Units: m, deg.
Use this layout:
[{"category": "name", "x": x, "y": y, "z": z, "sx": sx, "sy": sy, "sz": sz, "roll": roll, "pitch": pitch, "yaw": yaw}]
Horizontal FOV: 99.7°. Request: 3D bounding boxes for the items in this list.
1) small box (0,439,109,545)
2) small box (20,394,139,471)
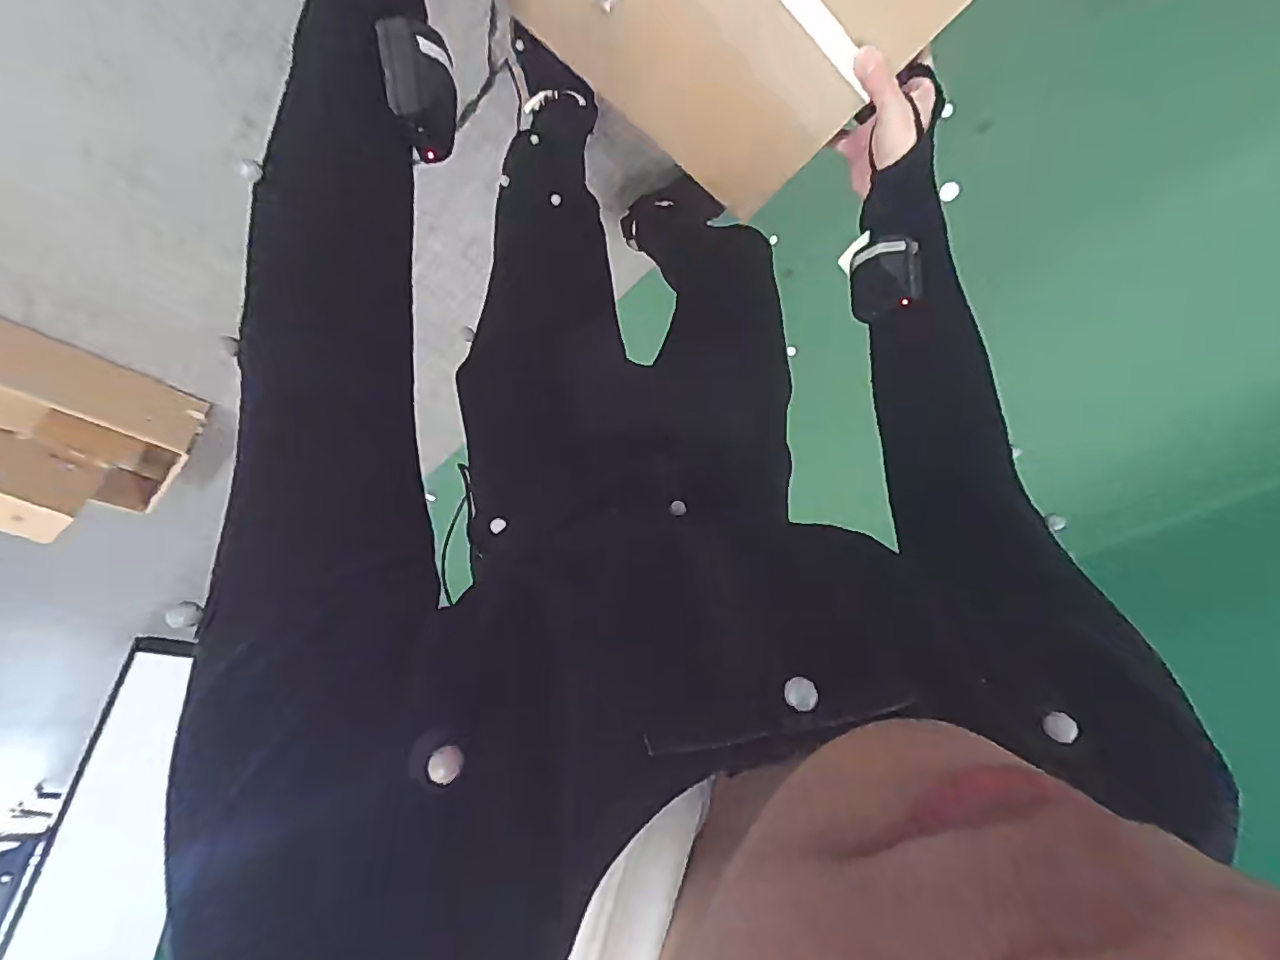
[{"category": "small box", "x": -1.498, "y": 0.031, "z": 1.353, "sx": 0.179, "sy": 0.176, "sz": 0.168, "roll": -27, "pitch": 137, "yaw": 23}, {"category": "small box", "x": -1.508, "y": -0.096, "z": 1.454, "sx": 0.179, "sy": 0.176, "sz": 0.168, "roll": -30, "pitch": 134, "yaw": 25}]
